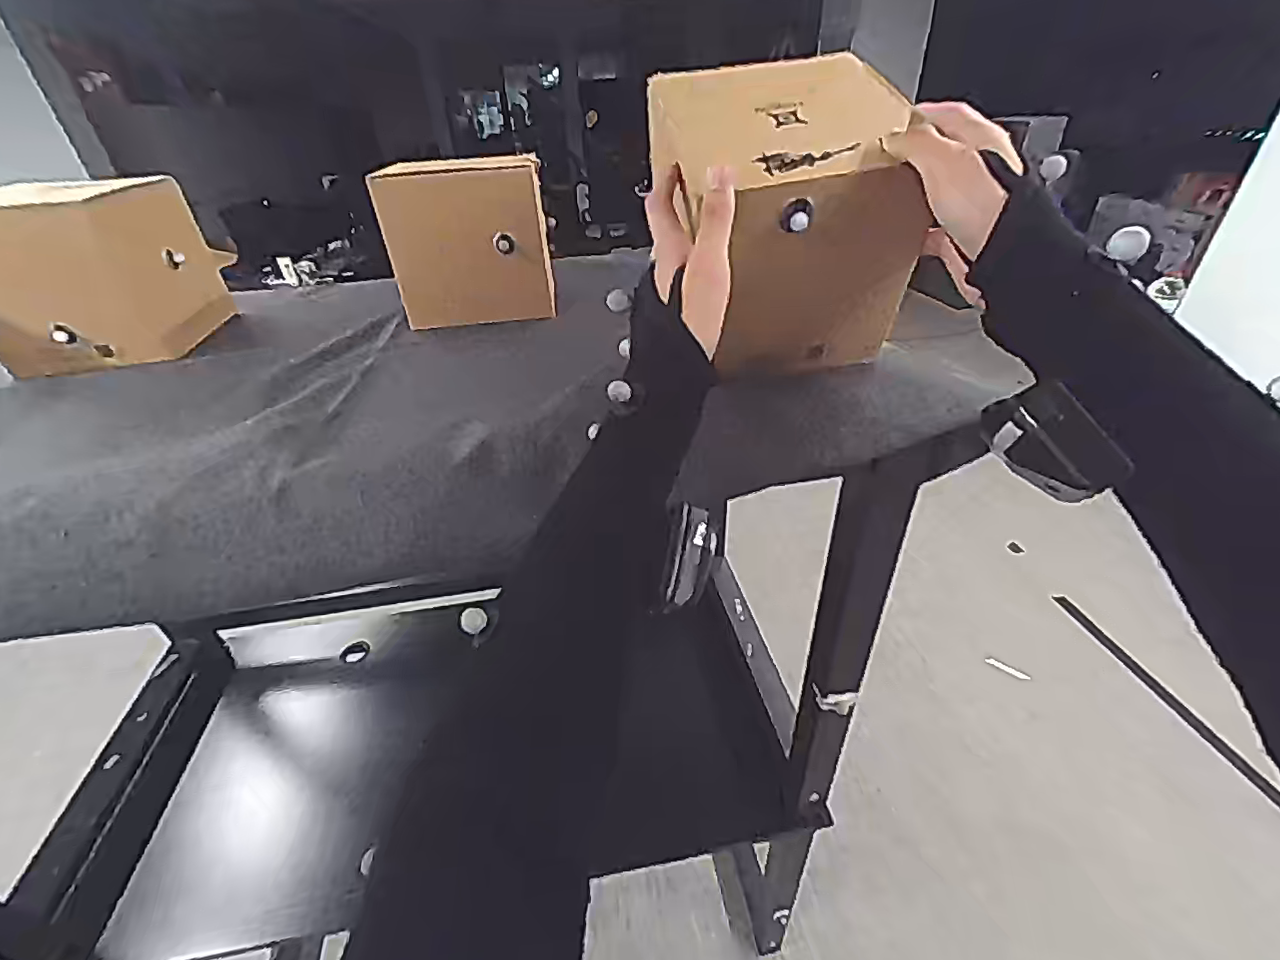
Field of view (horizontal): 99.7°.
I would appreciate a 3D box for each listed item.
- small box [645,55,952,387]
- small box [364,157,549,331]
[{"bbox_3d":[0.100,-0.202,0.434,0.168,0.176,0.179,-10,56,-2],"label":"small box"},{"bbox_3d":[-0.210,-0.299,0.681,0.179,0.176,0.168,-7,34,-5],"label":"small box"}]
